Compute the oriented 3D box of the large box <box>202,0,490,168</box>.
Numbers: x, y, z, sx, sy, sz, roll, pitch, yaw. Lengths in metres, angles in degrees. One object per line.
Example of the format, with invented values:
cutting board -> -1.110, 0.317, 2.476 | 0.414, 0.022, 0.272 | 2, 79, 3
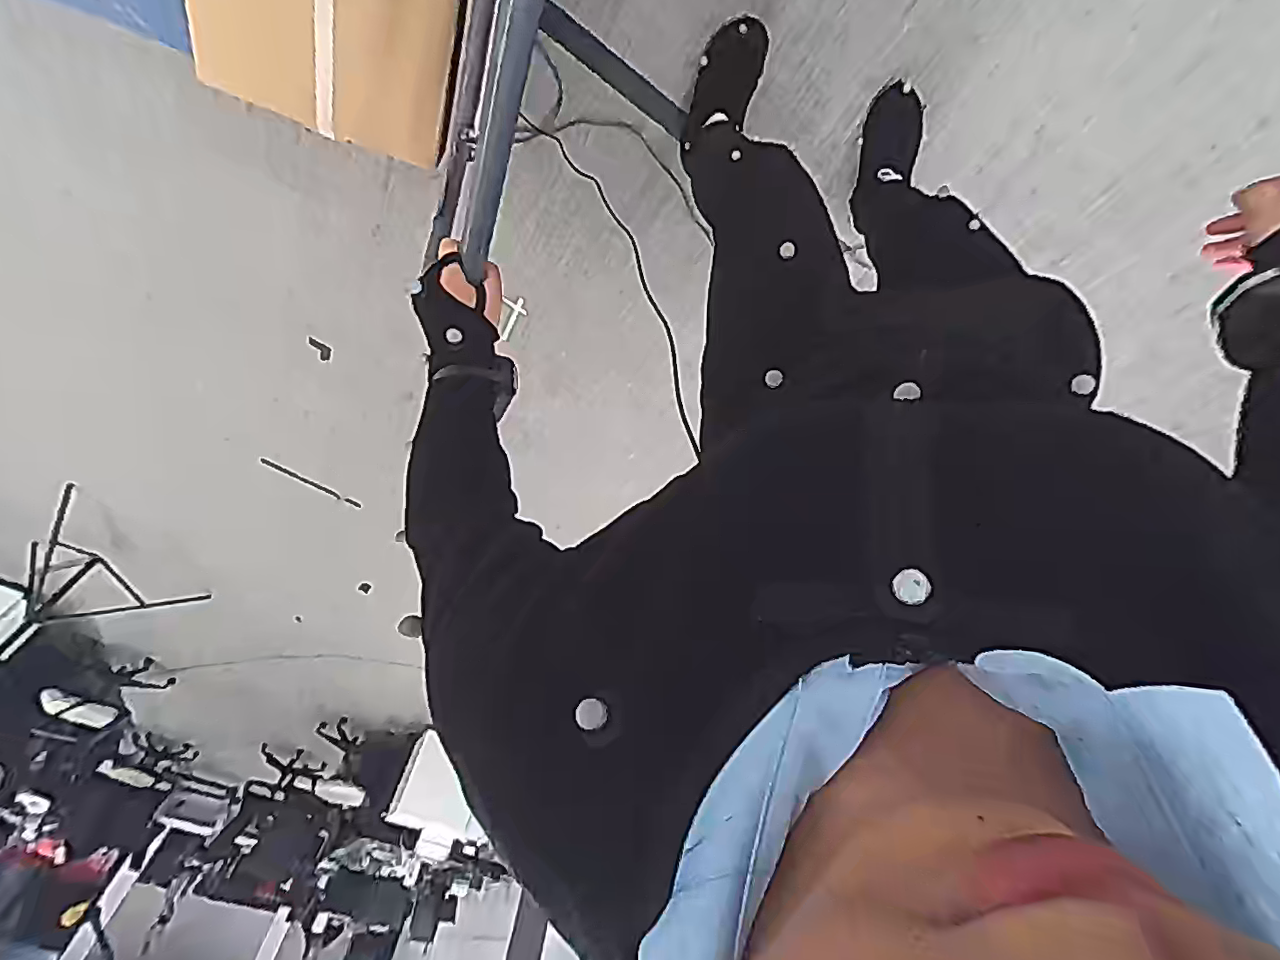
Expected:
large box -> -0.378, -0.746, 0.752 | 0.320, 0.320, 0.408 | 13, 137, -20
